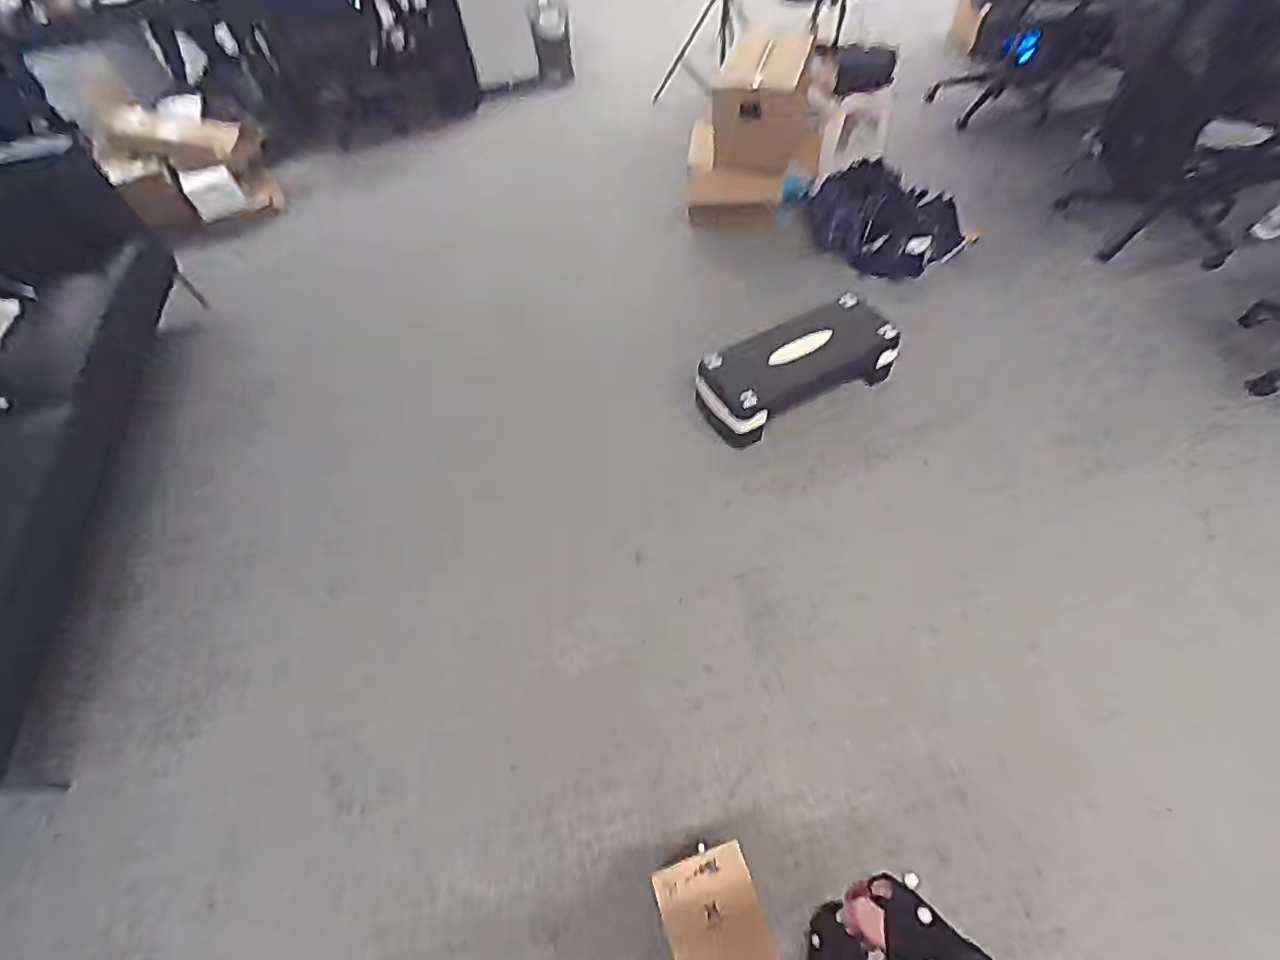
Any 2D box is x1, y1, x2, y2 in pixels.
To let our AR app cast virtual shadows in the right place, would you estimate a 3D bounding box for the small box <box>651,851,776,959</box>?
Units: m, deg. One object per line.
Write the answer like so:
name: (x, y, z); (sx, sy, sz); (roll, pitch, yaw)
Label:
small box: (0.130, 0.790, 0.964); (0.168, 0.176, 0.179); (-19, 57, -7)
